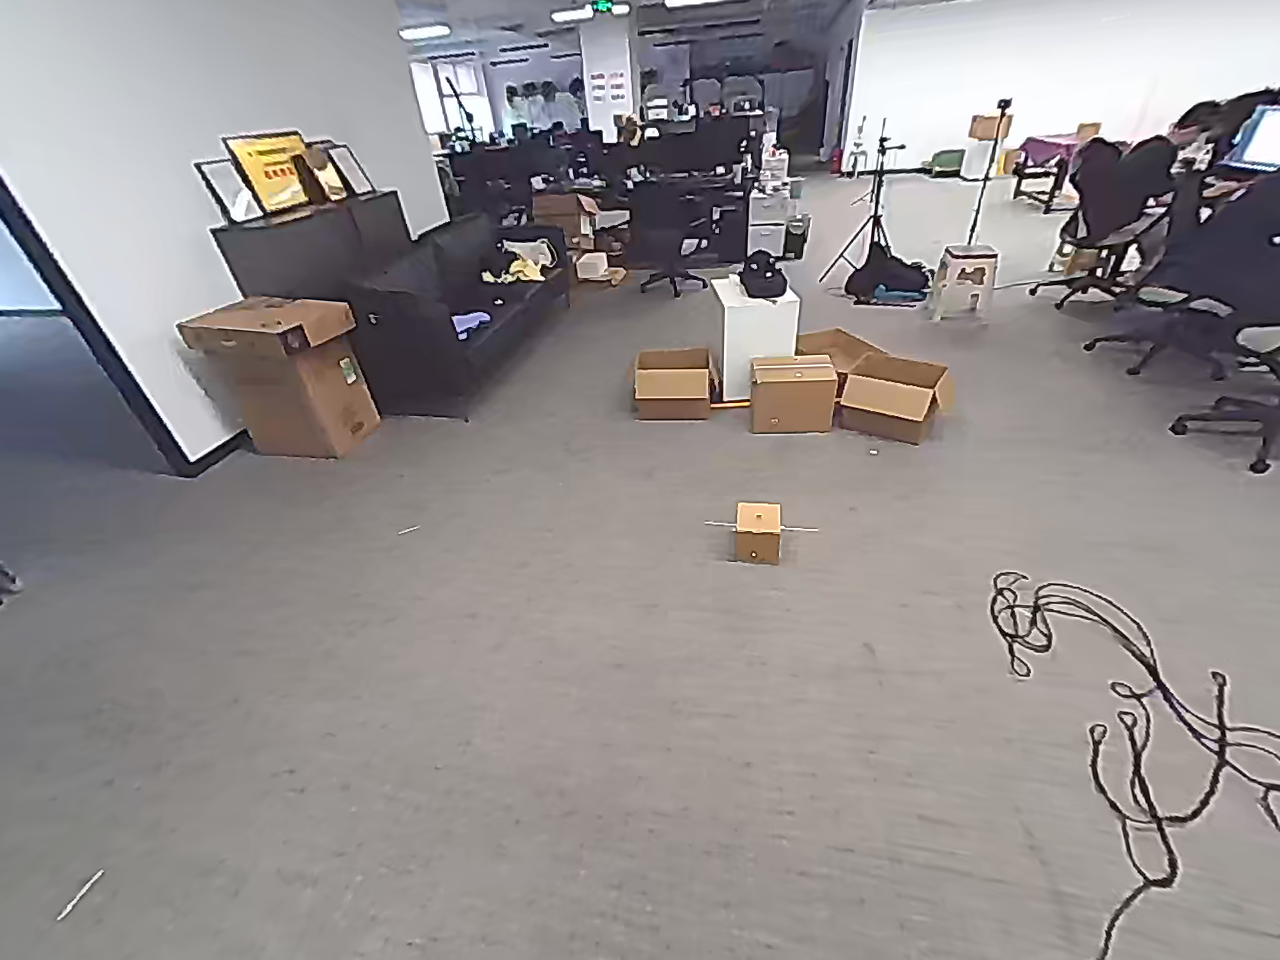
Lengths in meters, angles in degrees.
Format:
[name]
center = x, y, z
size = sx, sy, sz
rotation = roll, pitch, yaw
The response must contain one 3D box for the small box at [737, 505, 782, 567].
[small box]
center = 0.470, 0.219, 2.132
size = 0.168, 0.176, 0.179
rotation = 2, 36, 12
